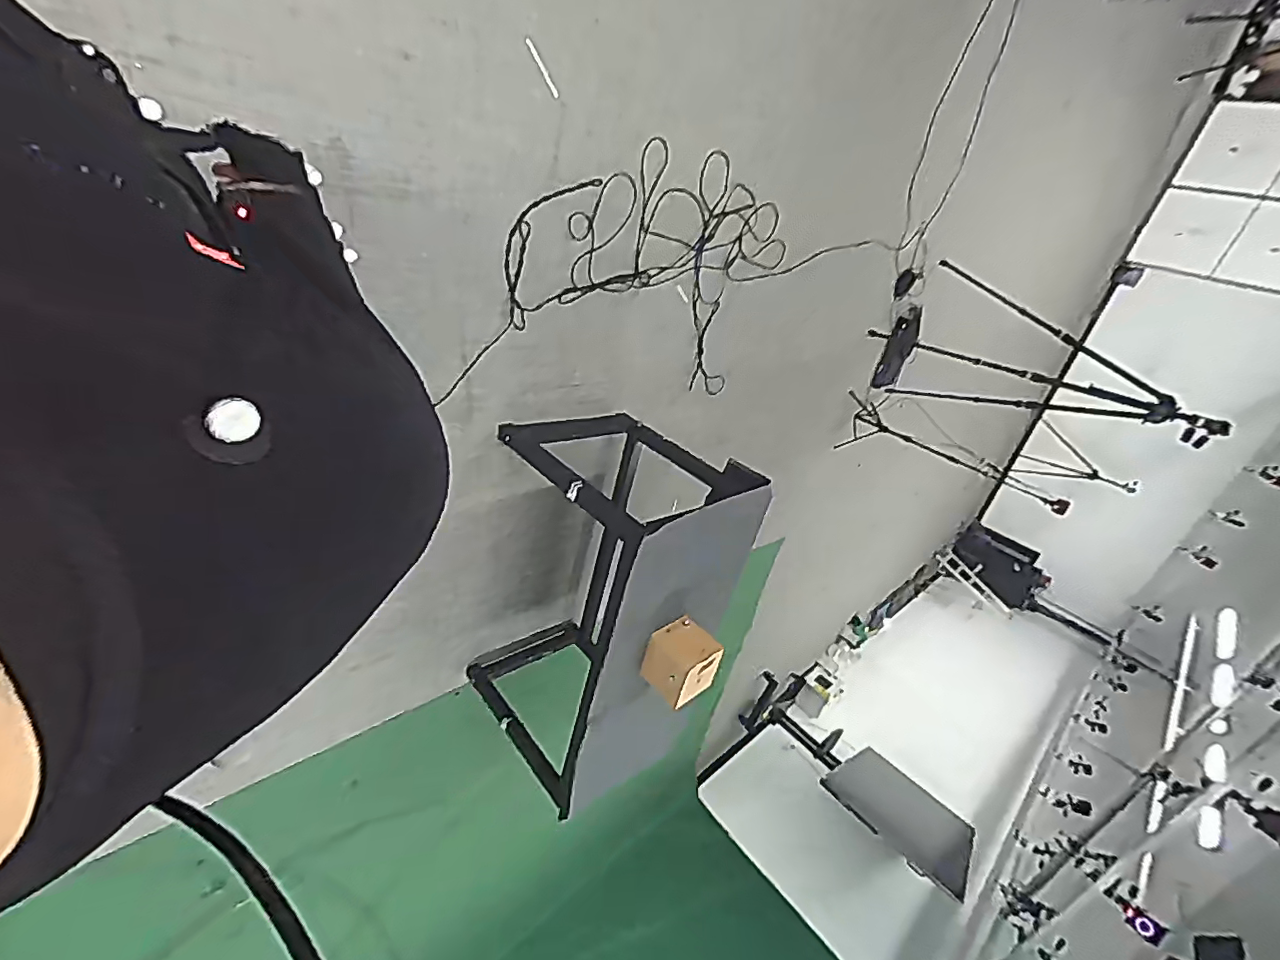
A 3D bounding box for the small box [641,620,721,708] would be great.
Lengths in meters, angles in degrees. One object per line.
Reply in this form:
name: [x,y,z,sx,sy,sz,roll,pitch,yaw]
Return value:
small box: [0.122,0.564,1.694,0.168,0.176,0.179,-15,129,-41]
